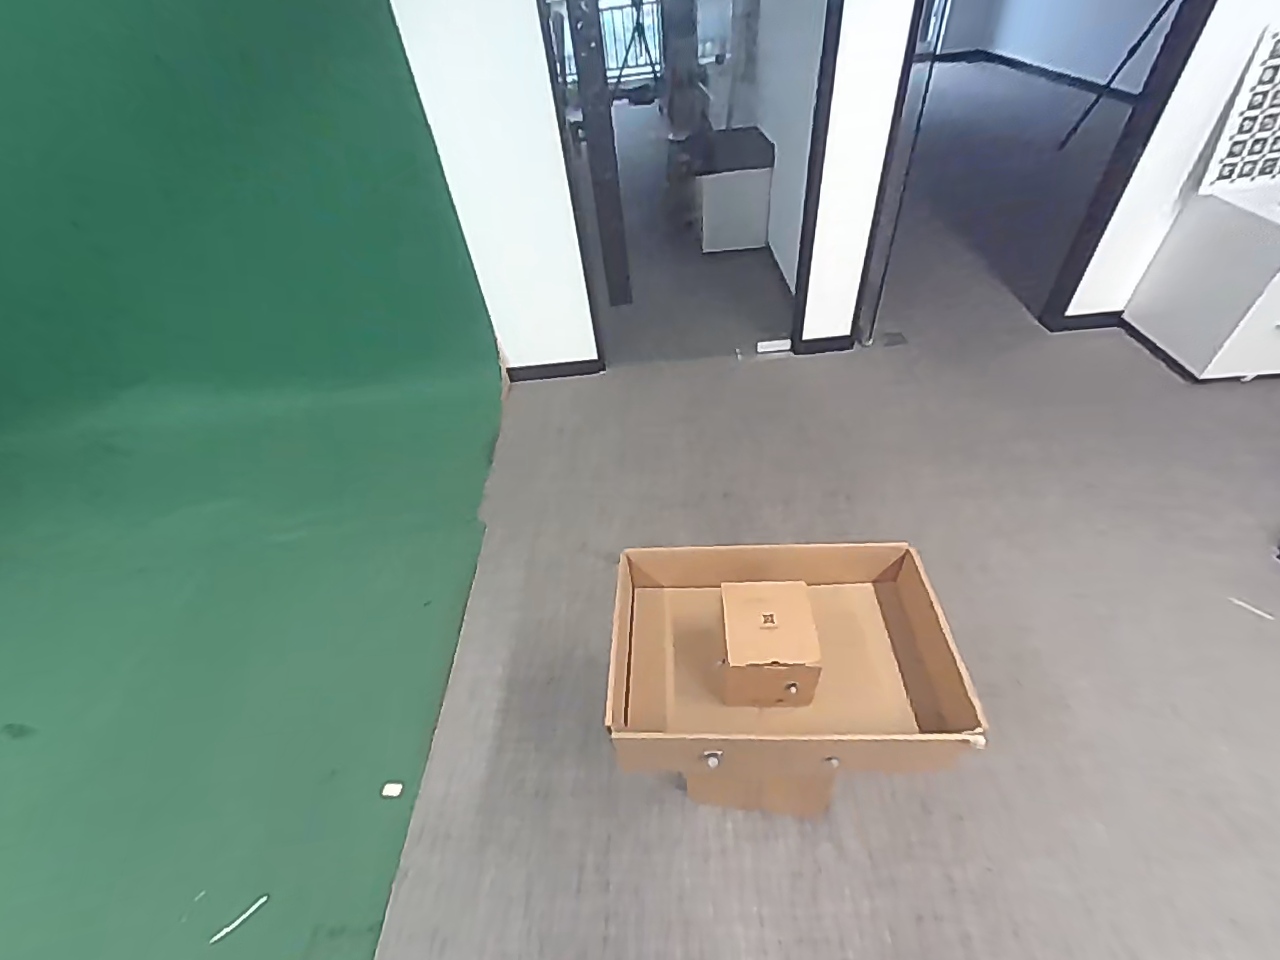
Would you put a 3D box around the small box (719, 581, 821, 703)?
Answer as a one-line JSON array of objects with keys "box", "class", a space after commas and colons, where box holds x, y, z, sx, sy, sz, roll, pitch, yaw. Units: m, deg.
[{"box": [0.243, 0.319, 1.055, 0.168, 0.176, 0.179, -2, 42, 3], "class": "small box"}]
